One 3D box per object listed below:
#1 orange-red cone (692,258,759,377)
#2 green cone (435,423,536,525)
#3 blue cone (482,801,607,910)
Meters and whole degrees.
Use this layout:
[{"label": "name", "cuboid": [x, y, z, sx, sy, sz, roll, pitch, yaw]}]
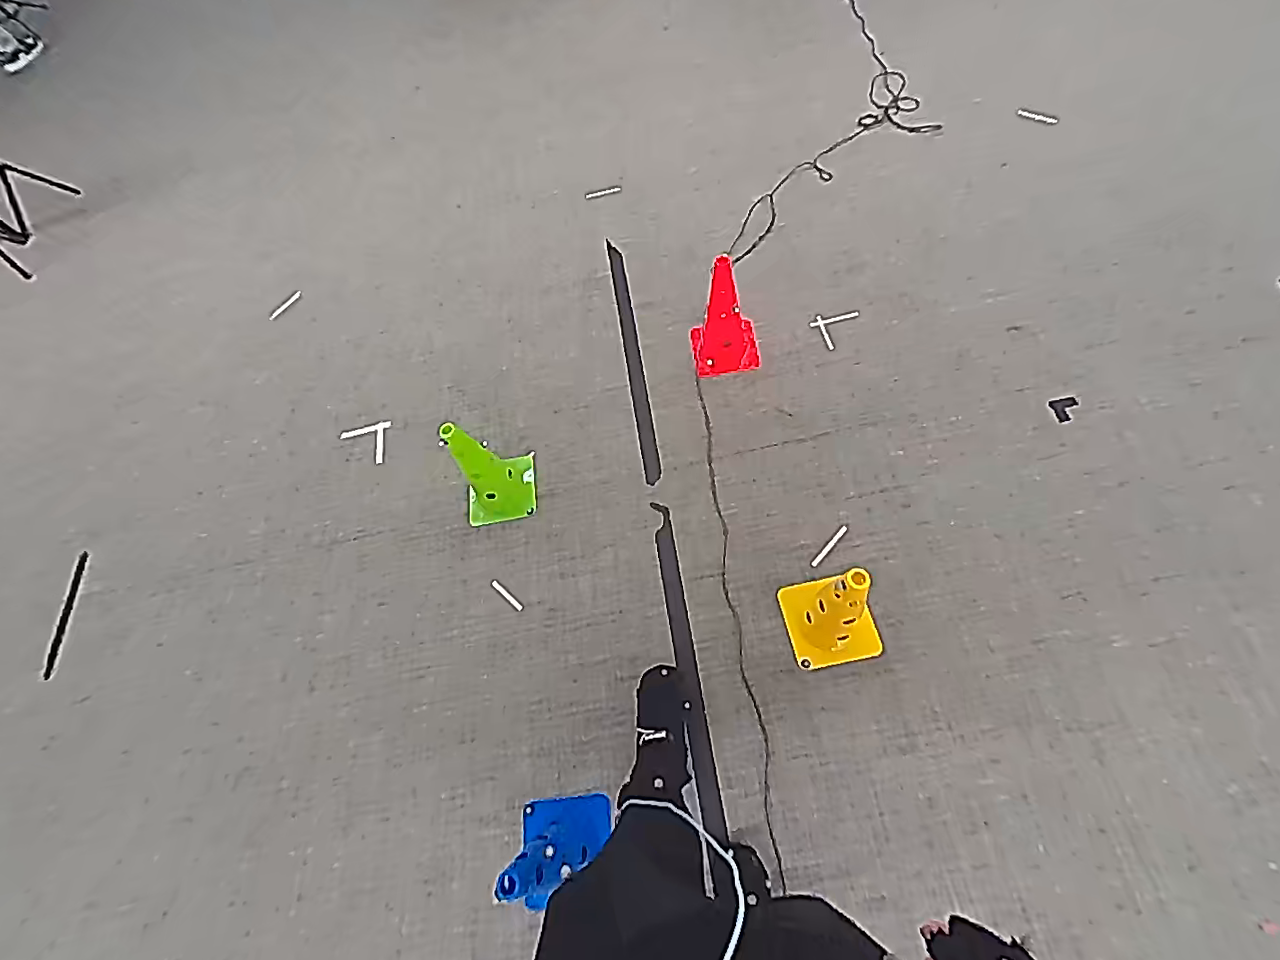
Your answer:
[{"label": "orange-red cone", "cuboid": [0.243, -0.486, 1.552, 0.199, 0.360, 0.198, -7, 64, 5]}, {"label": "green cone", "cuboid": [-0.435, -0.047, 1.445, 0.202, 0.368, 0.200, -12, 62, 5]}, {"label": "blue cone", "cuboid": [-0.195, 0.735, 1.028, 0.192, 0.380, 0.193, -8, 62, 7]}]
